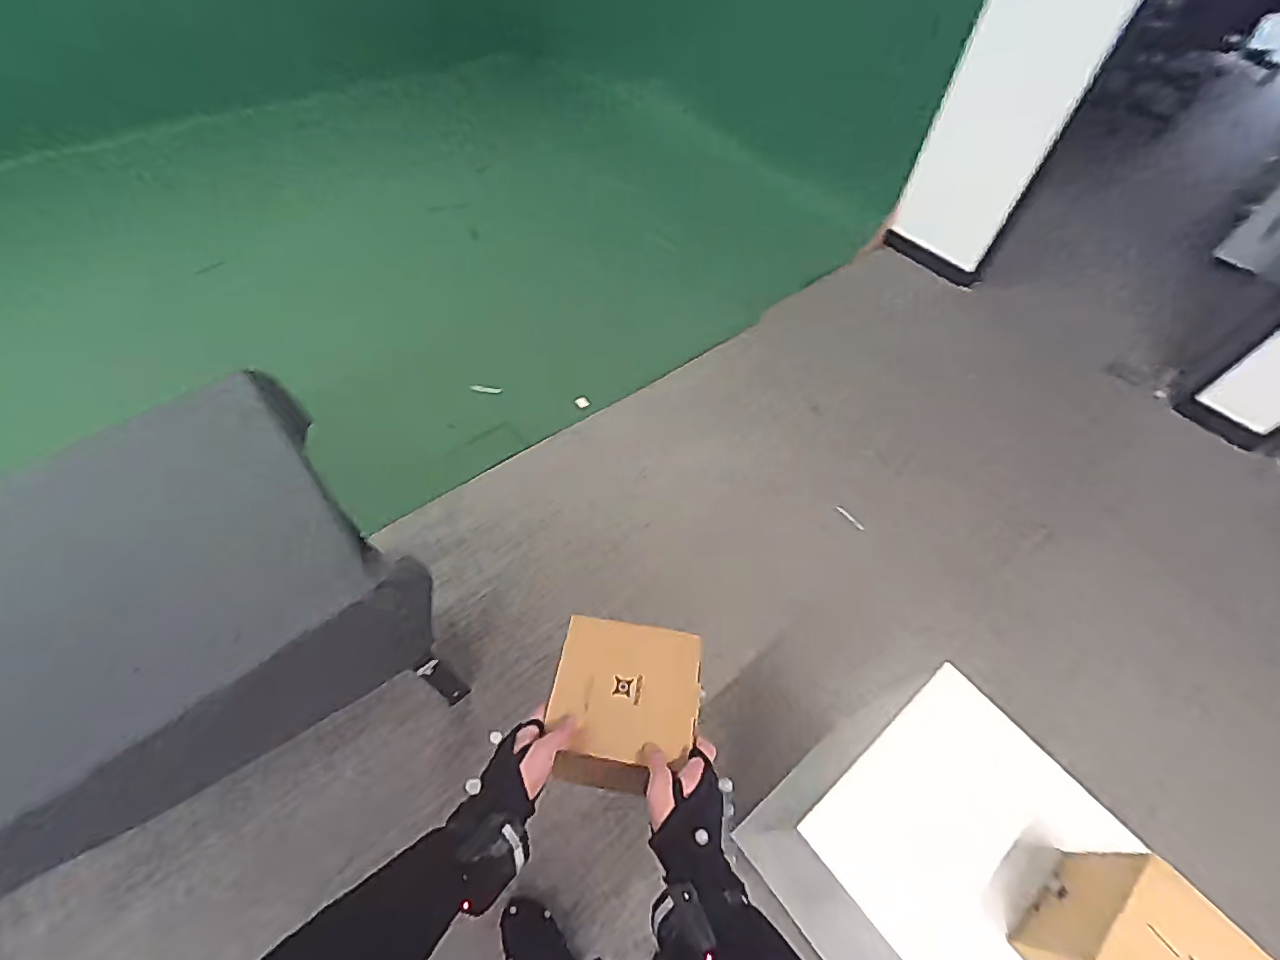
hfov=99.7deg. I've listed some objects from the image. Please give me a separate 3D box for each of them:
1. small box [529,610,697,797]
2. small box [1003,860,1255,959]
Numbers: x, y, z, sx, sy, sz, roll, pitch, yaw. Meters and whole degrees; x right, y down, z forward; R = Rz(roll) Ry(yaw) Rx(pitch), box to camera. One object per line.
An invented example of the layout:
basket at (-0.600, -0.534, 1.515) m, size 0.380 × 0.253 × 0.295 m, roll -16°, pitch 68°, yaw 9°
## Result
small box at (-0.029, 0.291, 0.695) m, size 0.179 × 0.176 × 0.168 m, roll 8°, pitch 48°, yaw 4°
small box at (0.608, 0.605, 0.665) m, size 0.168 × 0.176 × 0.179 m, roll -31°, pitch 63°, yaw -23°
